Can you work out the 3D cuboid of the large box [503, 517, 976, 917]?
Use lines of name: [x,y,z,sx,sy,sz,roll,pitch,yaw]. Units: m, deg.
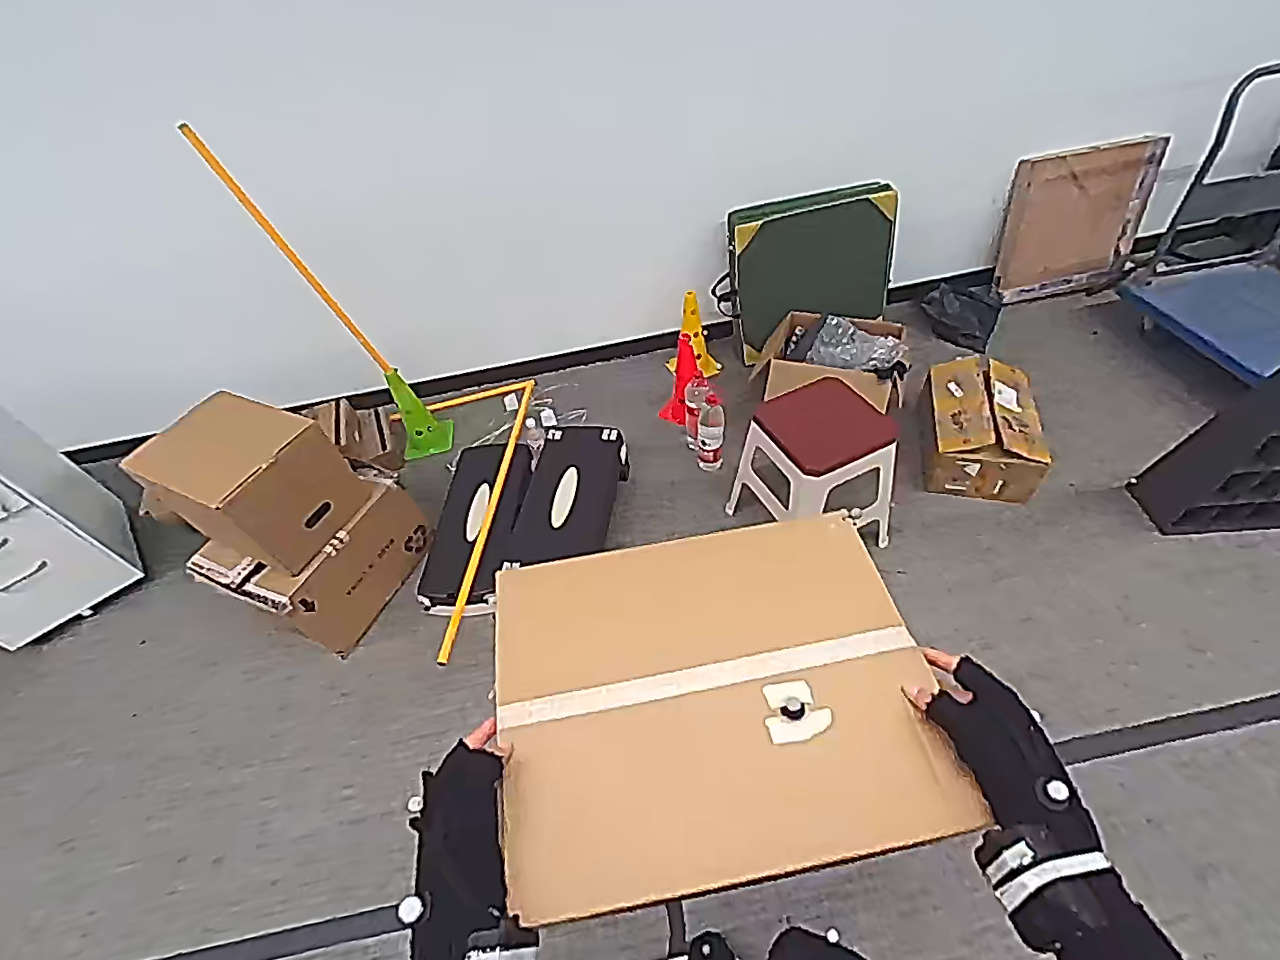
large box: [0.073,0.287,0.648,0.408,0.320,0.320,-10,52,-3]
